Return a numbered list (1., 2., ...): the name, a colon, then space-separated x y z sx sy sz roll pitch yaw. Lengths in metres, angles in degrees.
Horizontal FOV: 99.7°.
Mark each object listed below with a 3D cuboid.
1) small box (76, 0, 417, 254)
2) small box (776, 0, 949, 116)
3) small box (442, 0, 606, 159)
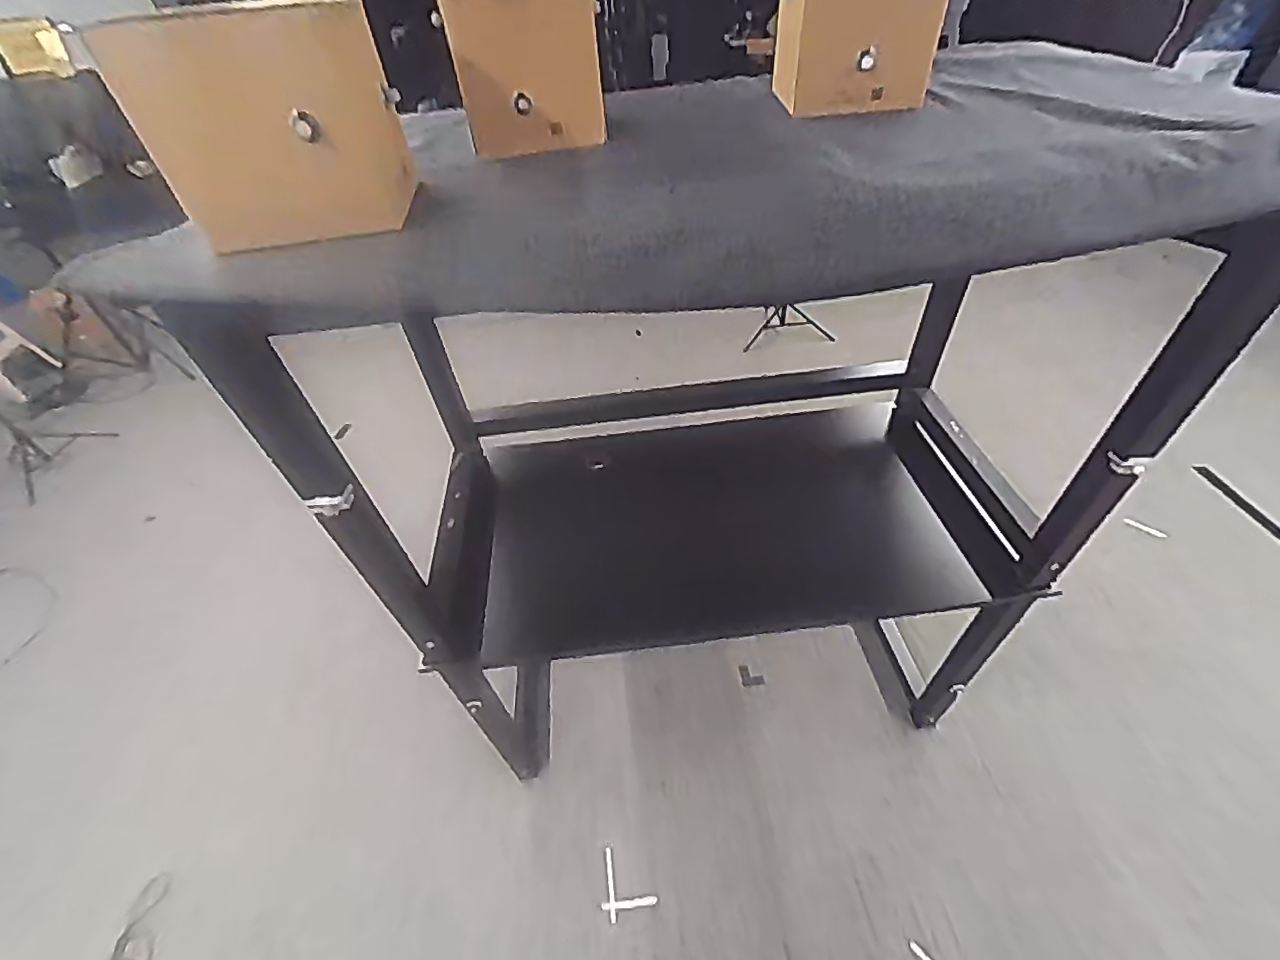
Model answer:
1. small box: -0.327 -0.331 0.503 0.179 0.176 0.168 -10 44 -5
2. small box: 0.277 -0.591 0.701 0.168 0.176 0.179 -3 46 4
3. small box: -0.141 -0.526 0.682 0.168 0.176 0.179 -11 46 -5
